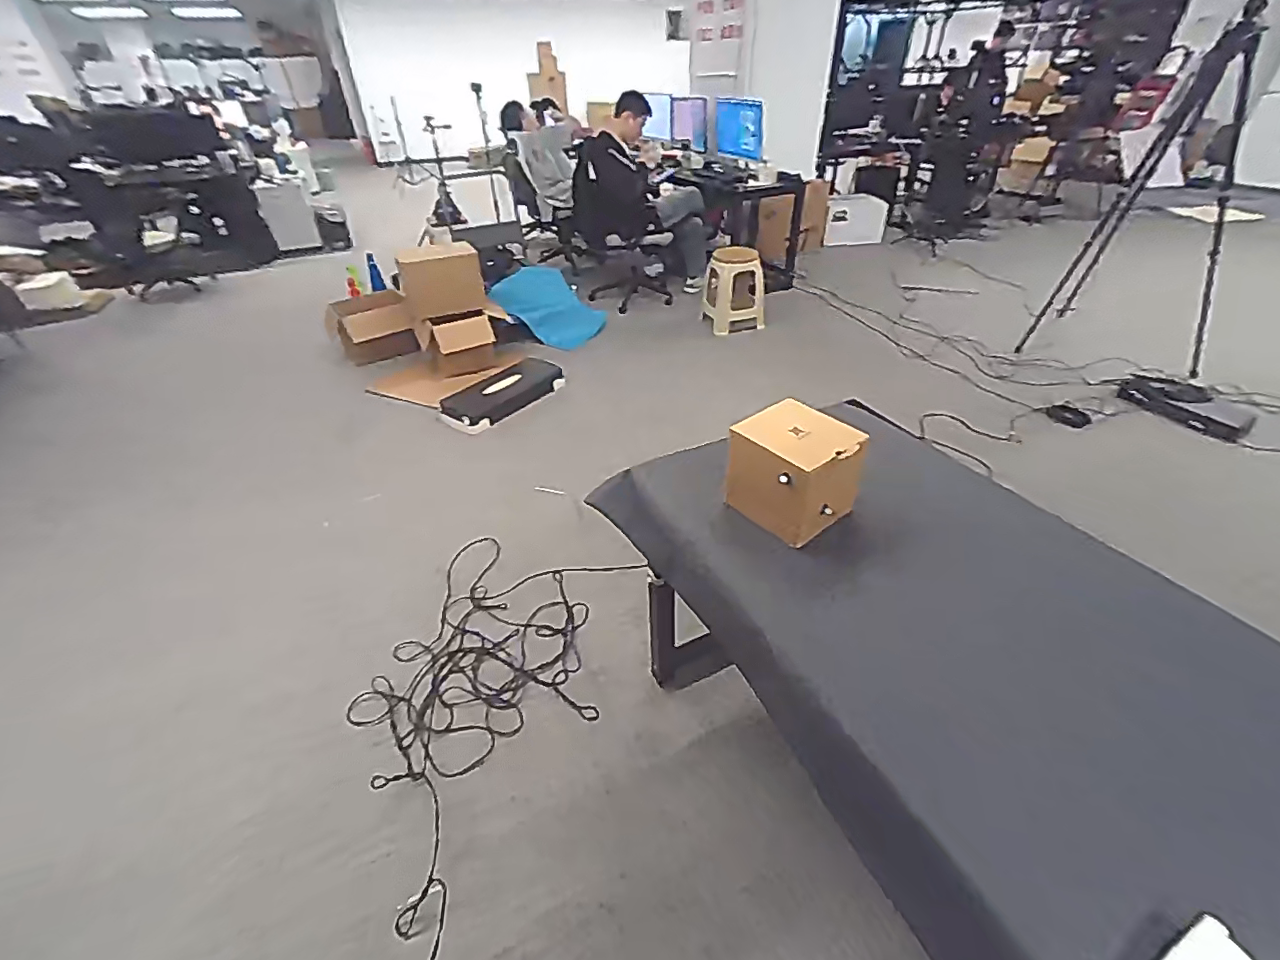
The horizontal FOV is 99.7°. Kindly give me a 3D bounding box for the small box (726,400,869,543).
[{"bbox_3d":[0.272,-0.018,0.973,0.168,0.176,0.179,-27,44,-29],"label":"small box"}]
